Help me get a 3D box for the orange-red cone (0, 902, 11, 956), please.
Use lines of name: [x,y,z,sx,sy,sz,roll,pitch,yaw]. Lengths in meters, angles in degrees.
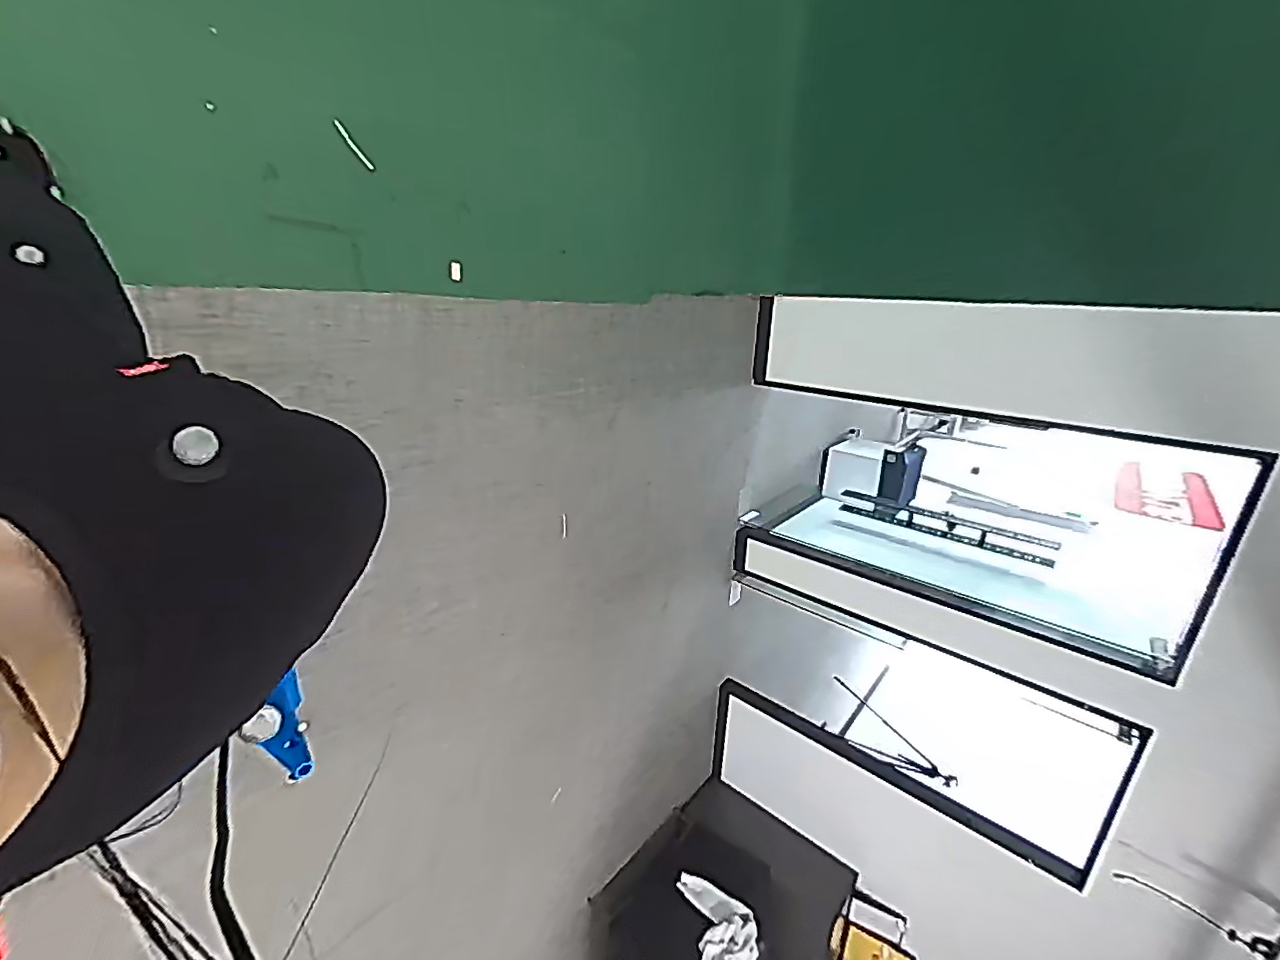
orange-red cone: [-1.327,1.013,1.010,0.198,0.360,0.199,-13,113,-49]
